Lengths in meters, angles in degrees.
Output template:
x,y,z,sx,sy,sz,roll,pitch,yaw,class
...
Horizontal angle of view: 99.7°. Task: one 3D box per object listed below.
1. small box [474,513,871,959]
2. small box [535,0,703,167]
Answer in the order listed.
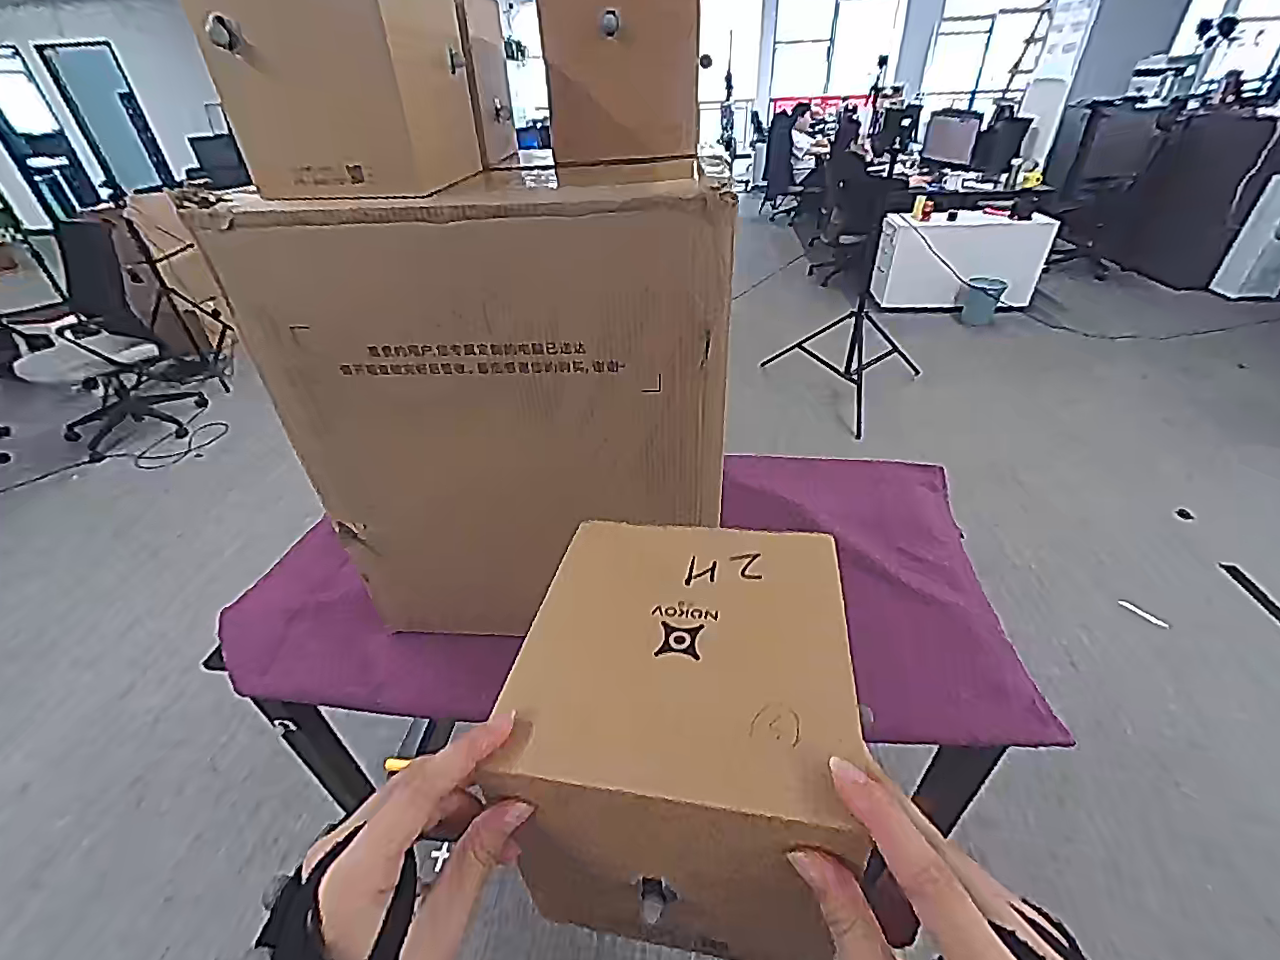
x,y,z,sx,sy,sz,roll,pitch,yaw,class
0.031,0.141,0.324,0.168,0.176,0.179,3,33,12,small box
-0.014,-0.492,0.660,0.179,0.176,0.168,-1,36,5,small box
